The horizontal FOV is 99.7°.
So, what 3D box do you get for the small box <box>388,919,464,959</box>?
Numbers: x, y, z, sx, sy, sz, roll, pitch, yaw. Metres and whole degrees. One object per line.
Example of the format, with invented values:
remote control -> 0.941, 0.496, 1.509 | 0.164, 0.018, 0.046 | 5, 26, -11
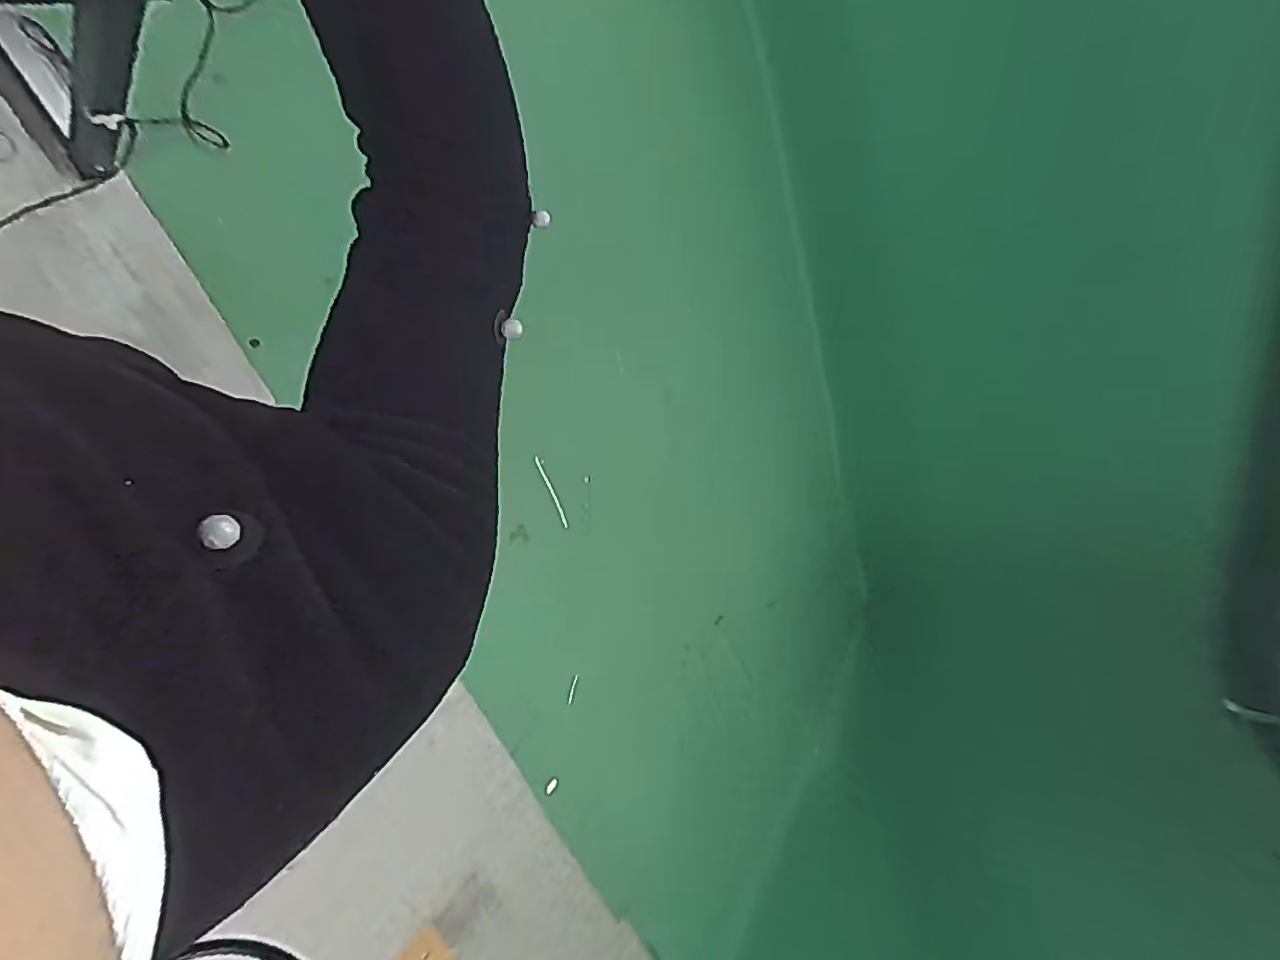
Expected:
small box -> -0.674, 1.561, 1.725 | 0.168, 0.176, 0.179 | -36, 119, -39
